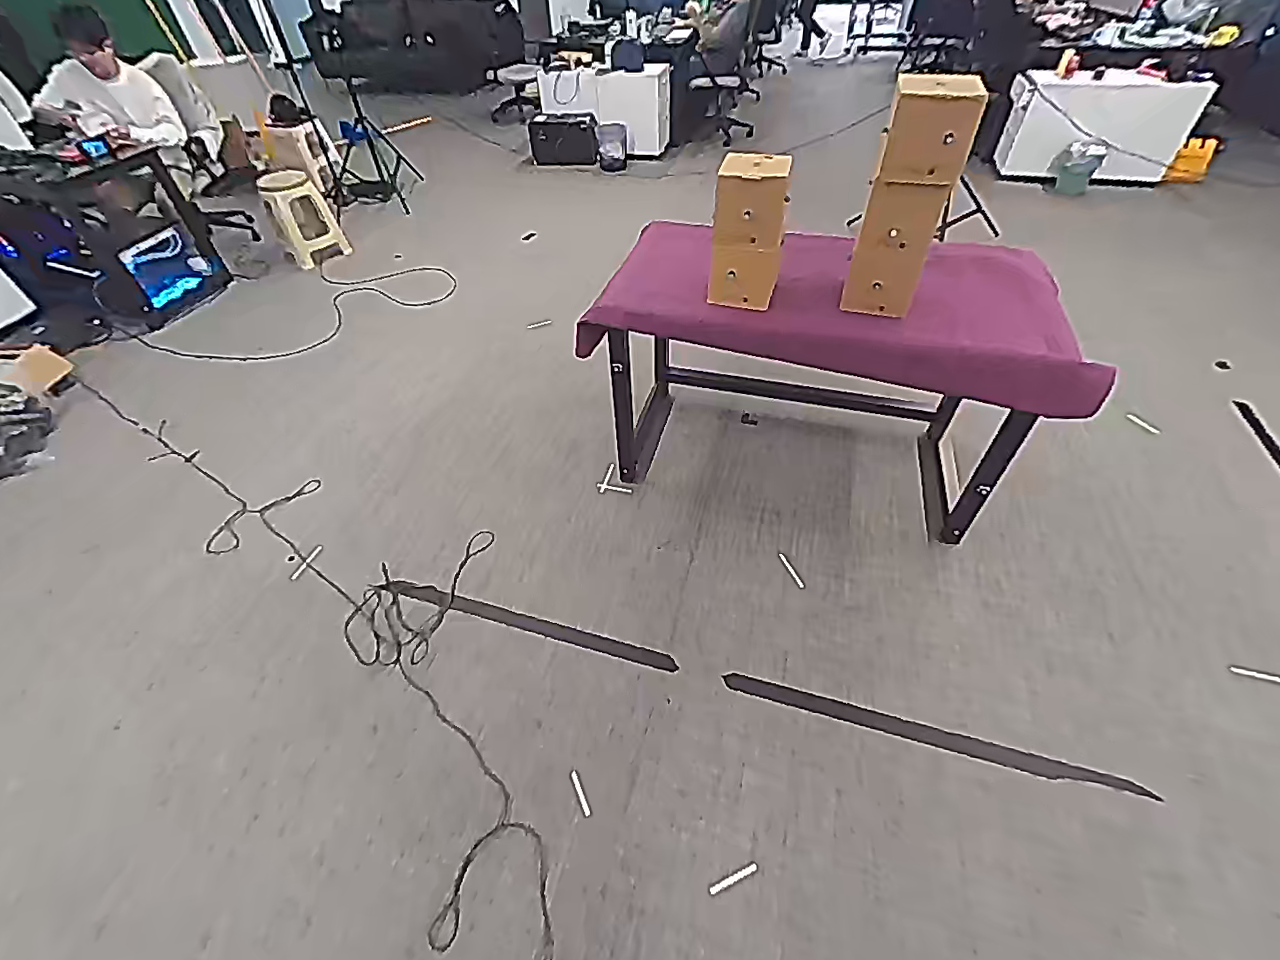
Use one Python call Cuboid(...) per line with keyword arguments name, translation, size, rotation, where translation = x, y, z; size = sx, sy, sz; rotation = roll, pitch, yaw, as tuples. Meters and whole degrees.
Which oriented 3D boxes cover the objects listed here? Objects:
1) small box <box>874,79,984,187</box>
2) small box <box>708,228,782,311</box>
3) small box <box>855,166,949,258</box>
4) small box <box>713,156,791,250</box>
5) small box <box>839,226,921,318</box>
Cuboid(name="small box", translation=(0.625, -0.764, 1.190), size=(0.168, 0.176, 0.179), rotation=(11, 47, 12))
Cuboid(name="small box", translation=(0.286, -0.583, 1.486), size=(0.168, 0.176, 0.179), rotation=(12, 47, 13))
Cuboid(name="small box", translation=(0.635, -0.668, 1.323), size=(0.168, 0.176, 0.179), rotation=(13, 49, 15))
Cuboid(name="small box", translation=(0.281, -0.702, 1.373), size=(0.168, 0.176, 0.179), rotation=(10, 47, 11))
Cuboid(name="small box", translation=(0.637, -0.553, 1.440), size=(0.168, 0.176, 0.179), rotation=(13, 48, 14))
